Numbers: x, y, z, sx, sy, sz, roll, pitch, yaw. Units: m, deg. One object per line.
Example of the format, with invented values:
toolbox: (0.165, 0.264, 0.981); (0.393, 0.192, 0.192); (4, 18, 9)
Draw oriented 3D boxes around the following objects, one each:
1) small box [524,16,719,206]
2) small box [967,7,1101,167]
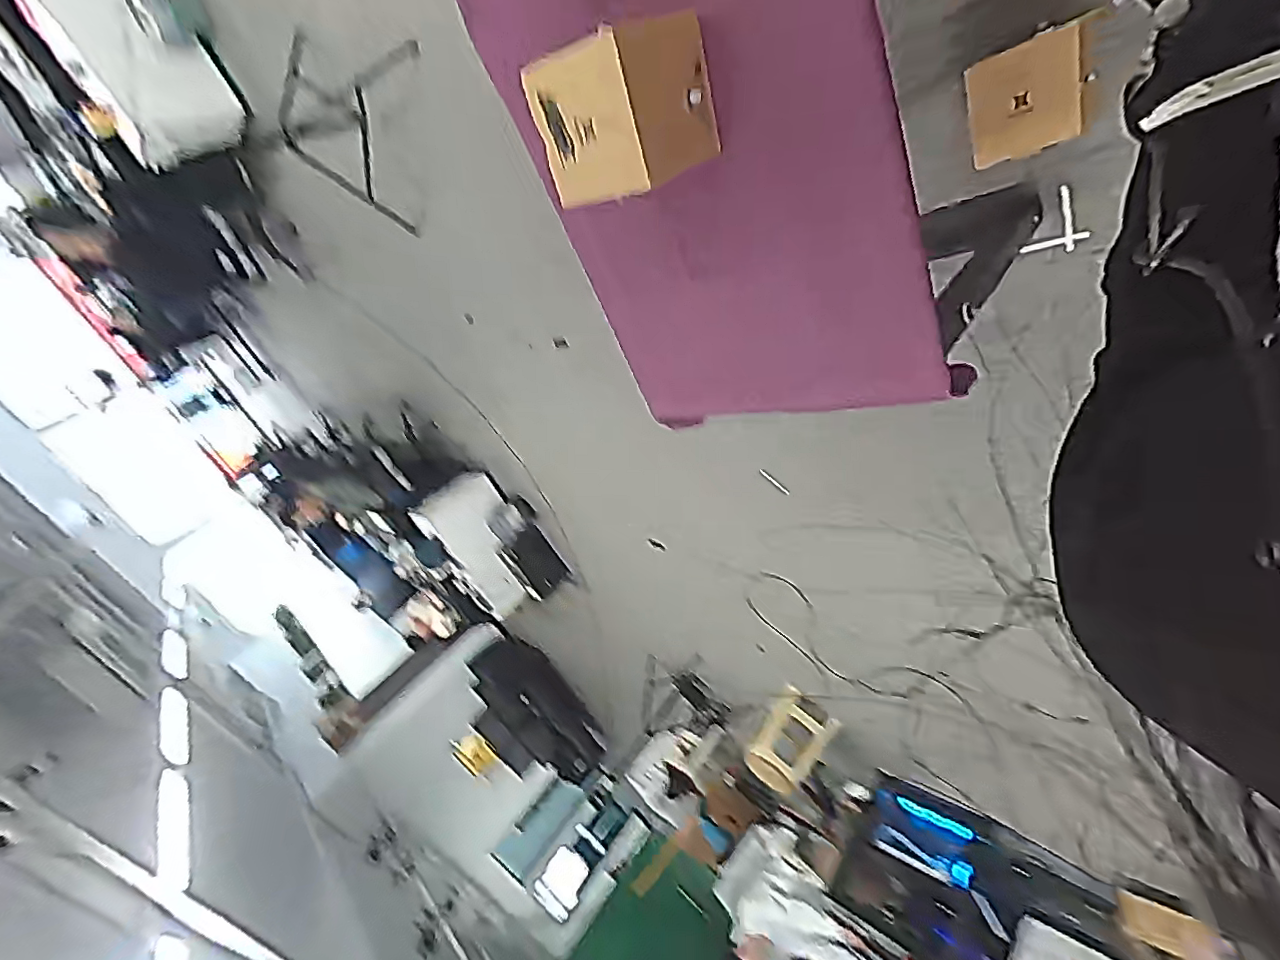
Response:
small box: (-0.019, -0.496, 0.739); (0.179, 0.176, 0.168); (15, 138, 41)
small box: (0.728, -0.719, 0.995); (0.168, 0.176, 0.179); (5, 130, 47)
